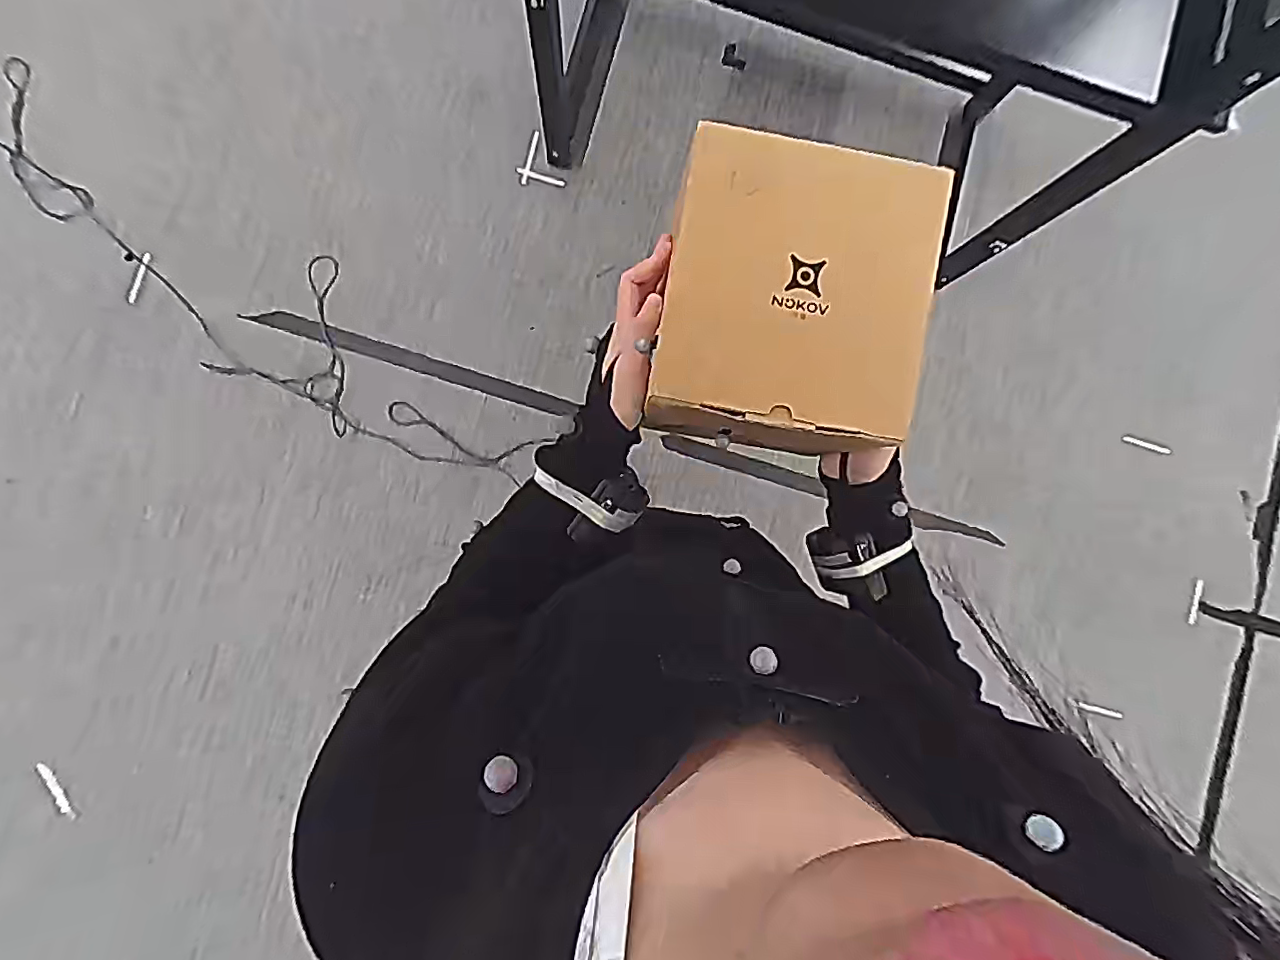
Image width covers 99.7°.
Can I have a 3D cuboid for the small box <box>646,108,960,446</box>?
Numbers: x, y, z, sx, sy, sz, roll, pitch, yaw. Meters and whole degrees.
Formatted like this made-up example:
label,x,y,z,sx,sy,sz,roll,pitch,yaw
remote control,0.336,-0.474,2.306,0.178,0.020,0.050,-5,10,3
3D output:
label,x,y,z,sx,sy,sz,roll,pitch,yaw
small box,0.099,-0.126,0.407,0.168,0.176,0.179,9,91,-2
